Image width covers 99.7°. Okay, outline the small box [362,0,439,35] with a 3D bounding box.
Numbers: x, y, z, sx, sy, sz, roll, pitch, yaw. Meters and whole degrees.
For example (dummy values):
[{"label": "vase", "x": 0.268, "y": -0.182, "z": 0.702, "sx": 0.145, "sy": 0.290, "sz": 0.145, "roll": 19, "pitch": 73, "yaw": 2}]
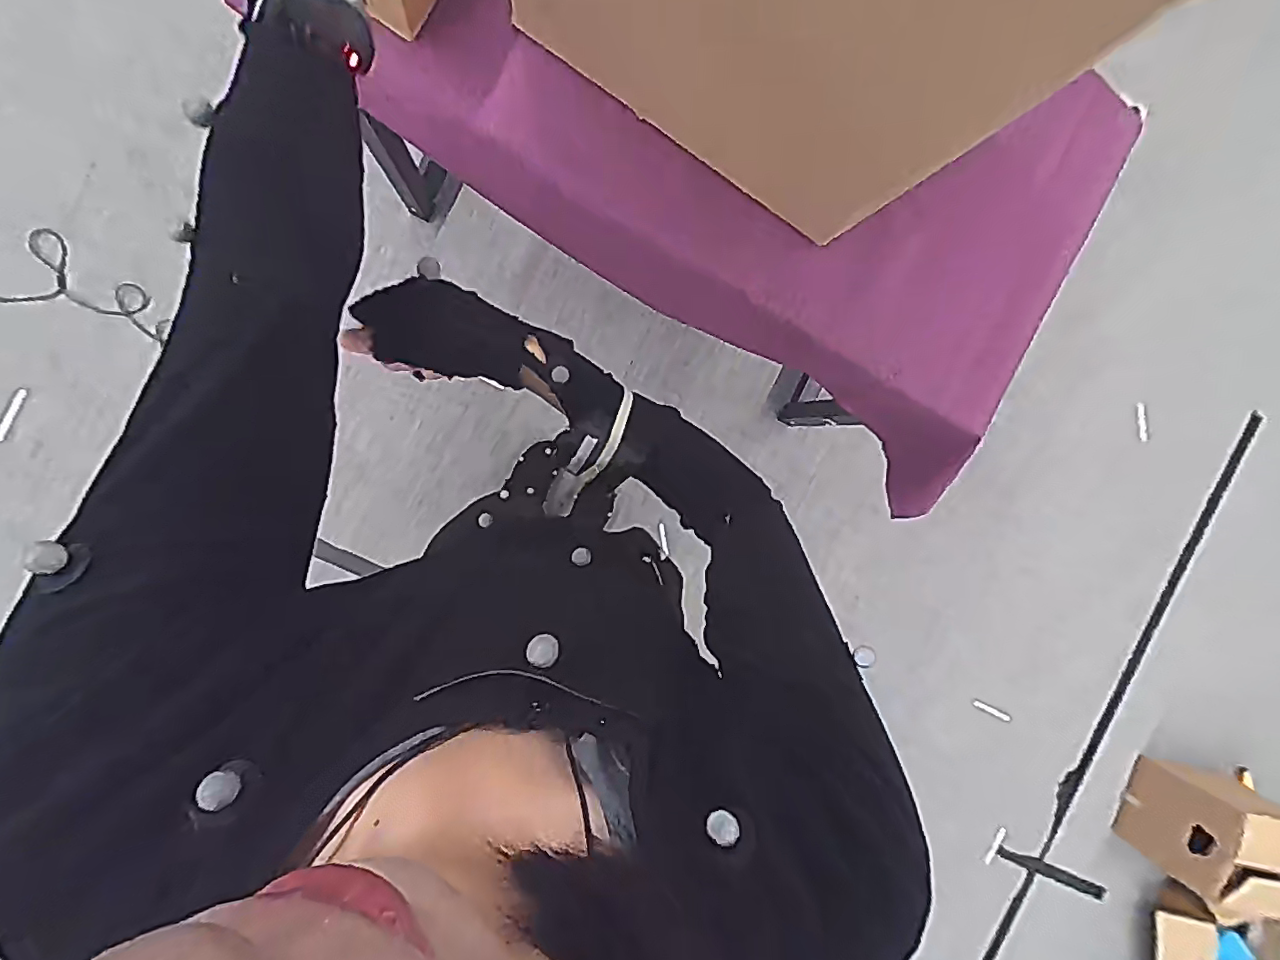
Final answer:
[{"label": "small box", "x": -0.300, "y": -0.672, "z": 0.608, "sx": 0.168, "sy": 0.176, "sz": 0.179, "roll": 29, "pitch": 87, "yaw": -14}]
